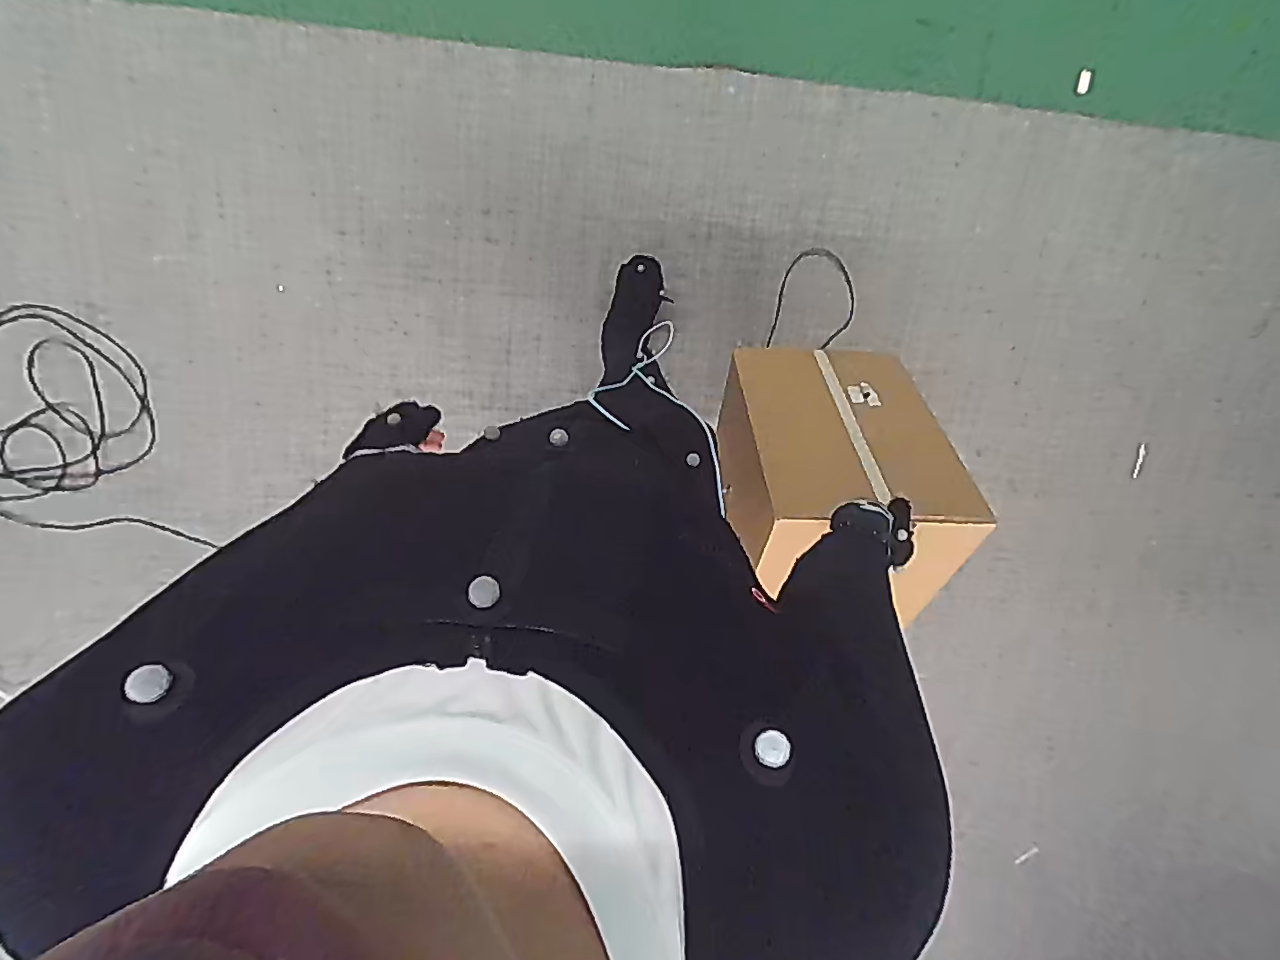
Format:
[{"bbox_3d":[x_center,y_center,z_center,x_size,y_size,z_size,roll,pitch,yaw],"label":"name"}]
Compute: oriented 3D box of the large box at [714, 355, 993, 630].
[{"bbox_3d":[0.327,0.020,0.981,0.320,0.408,0.320,2,136,-4],"label":"large box"}]
